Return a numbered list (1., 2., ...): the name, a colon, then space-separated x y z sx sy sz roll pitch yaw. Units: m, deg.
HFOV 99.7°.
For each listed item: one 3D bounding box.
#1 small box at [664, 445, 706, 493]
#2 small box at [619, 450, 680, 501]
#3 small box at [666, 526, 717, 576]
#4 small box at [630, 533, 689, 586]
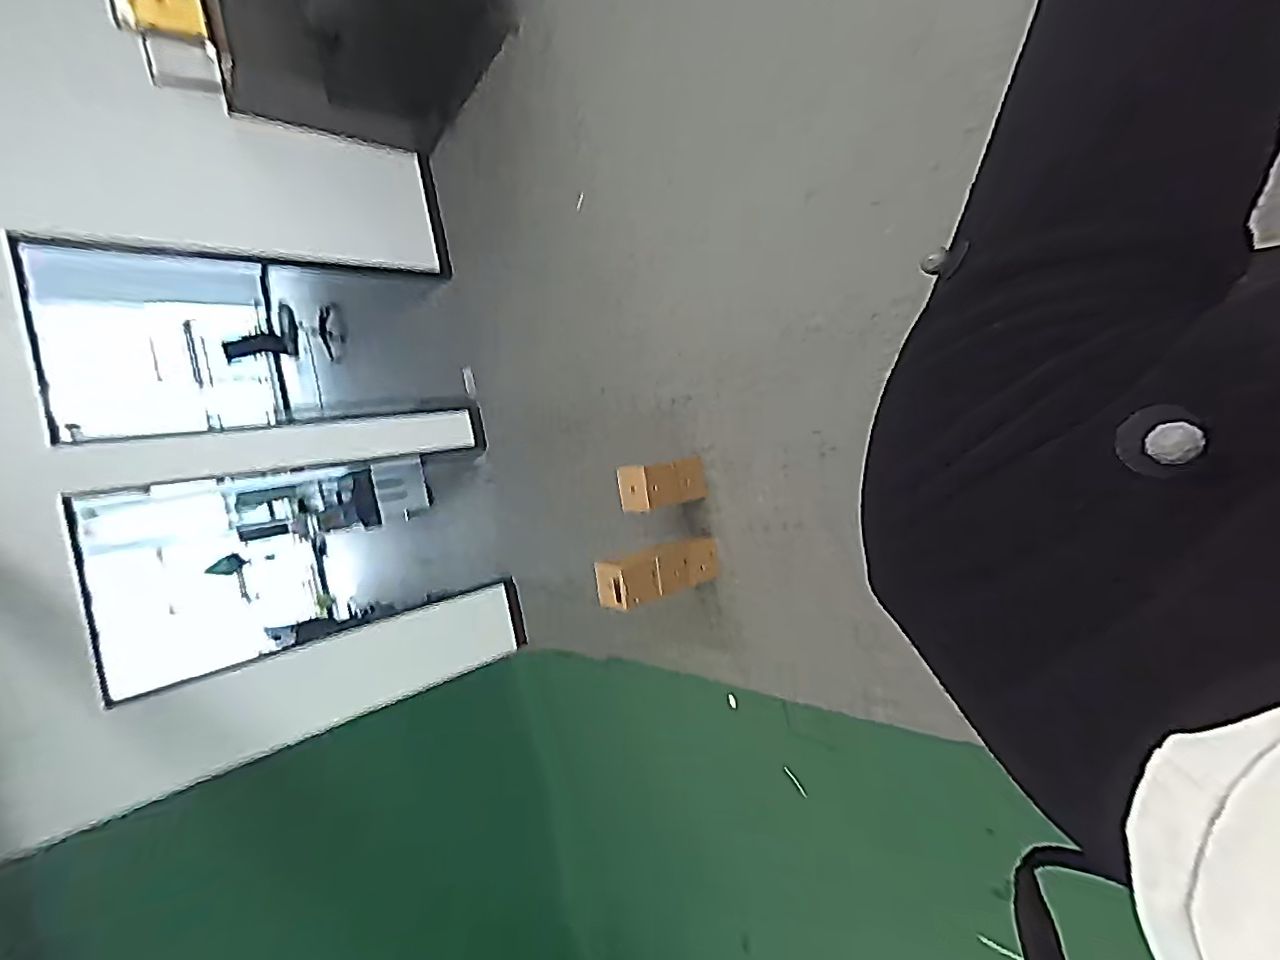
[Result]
1. small box: 0.158 -0.043 2.264 0.168 0.176 0.179 -5 96 50
2. small box: 0.042 -0.018 2.150 0.168 0.176 0.179 -2 97 49
3. small box: 0.211 0.295 2.288 0.179 0.176 0.168 -2 98 50
4. small box: 0.086 0.317 2.182 0.179 0.176 0.168 1 99 50
